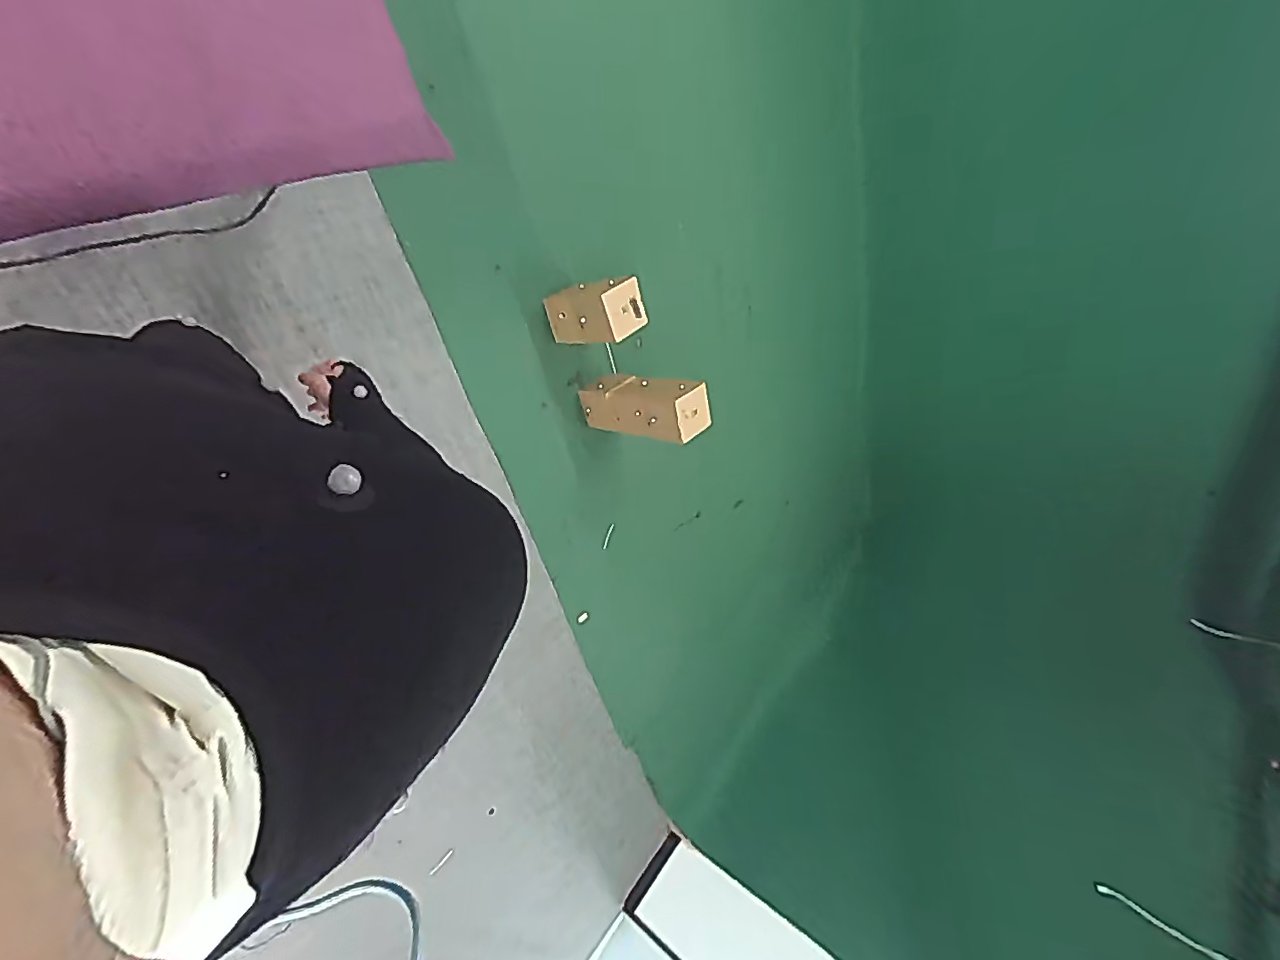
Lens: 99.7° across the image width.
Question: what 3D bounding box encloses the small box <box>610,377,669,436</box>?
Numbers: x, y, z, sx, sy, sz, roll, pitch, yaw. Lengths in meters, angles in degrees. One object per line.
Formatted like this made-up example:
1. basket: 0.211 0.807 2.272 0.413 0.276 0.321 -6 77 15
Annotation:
1. small box: 0.013 -0.287 2.061 0.179 0.176 0.168 -36 126 -36

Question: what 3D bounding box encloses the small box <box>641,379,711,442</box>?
1. small box: 0.130 -0.256 1.949 0.179 0.176 0.168 -35 125 -35

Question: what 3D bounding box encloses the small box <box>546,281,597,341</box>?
1. small box: -0.219 -0.612 1.966 0.179 0.176 0.168 -39 127 -35

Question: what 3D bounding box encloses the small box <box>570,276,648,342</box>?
1. small box: -0.106 -0.586 1.850 0.179 0.176 0.168 -41 128 -32
